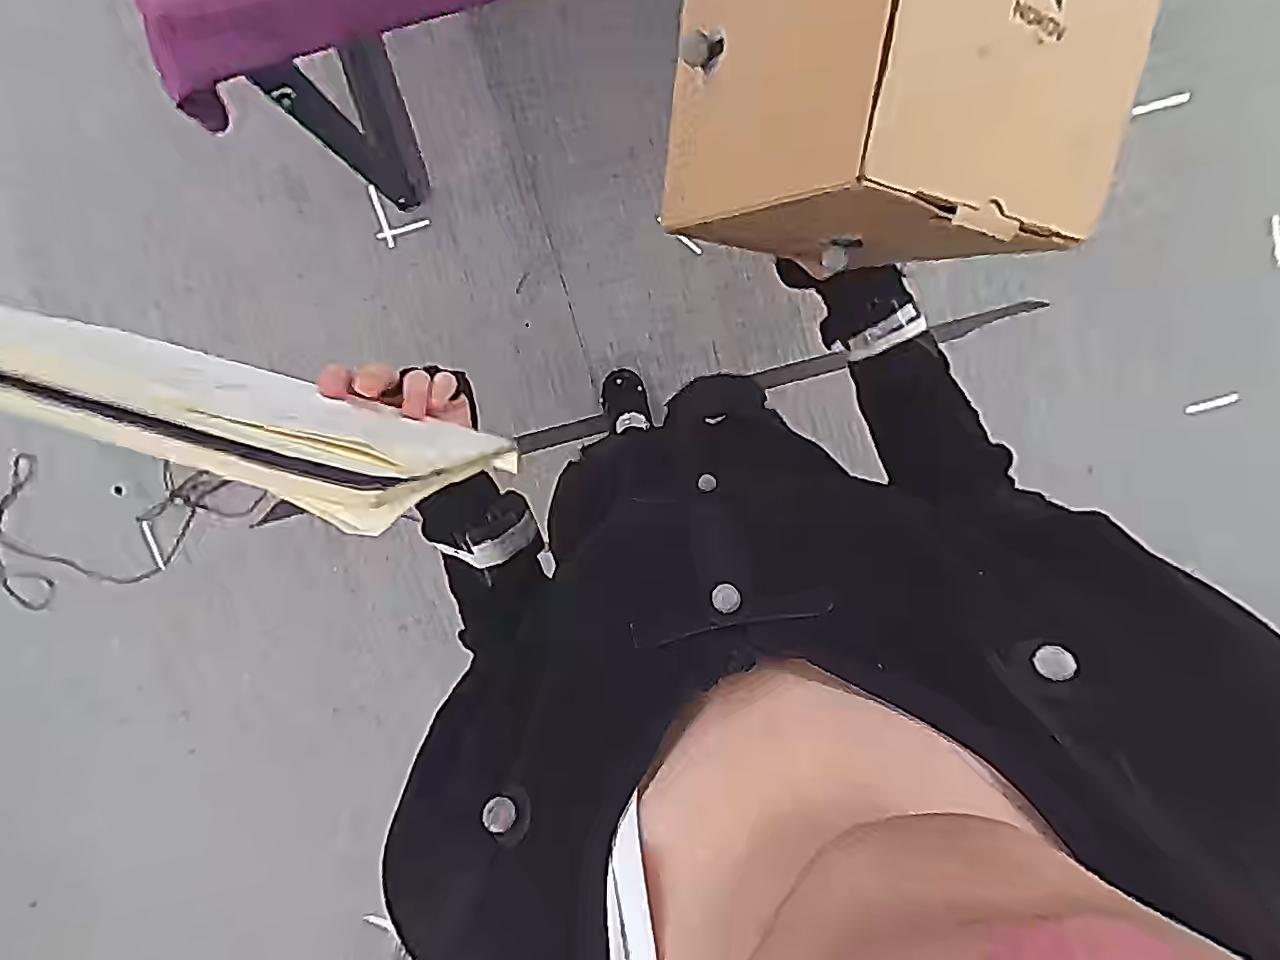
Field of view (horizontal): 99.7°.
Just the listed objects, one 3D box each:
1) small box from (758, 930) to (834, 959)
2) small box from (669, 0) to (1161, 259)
[{"bbox_3d":[0.387,1.213,1.279,0.168,0.176,0.179,-10,98,0],"label":"small box"},{"bbox_3d":[0.130,-0.224,0.292,0.168,0.176,0.179,-2,108,-27],"label":"small box"}]
